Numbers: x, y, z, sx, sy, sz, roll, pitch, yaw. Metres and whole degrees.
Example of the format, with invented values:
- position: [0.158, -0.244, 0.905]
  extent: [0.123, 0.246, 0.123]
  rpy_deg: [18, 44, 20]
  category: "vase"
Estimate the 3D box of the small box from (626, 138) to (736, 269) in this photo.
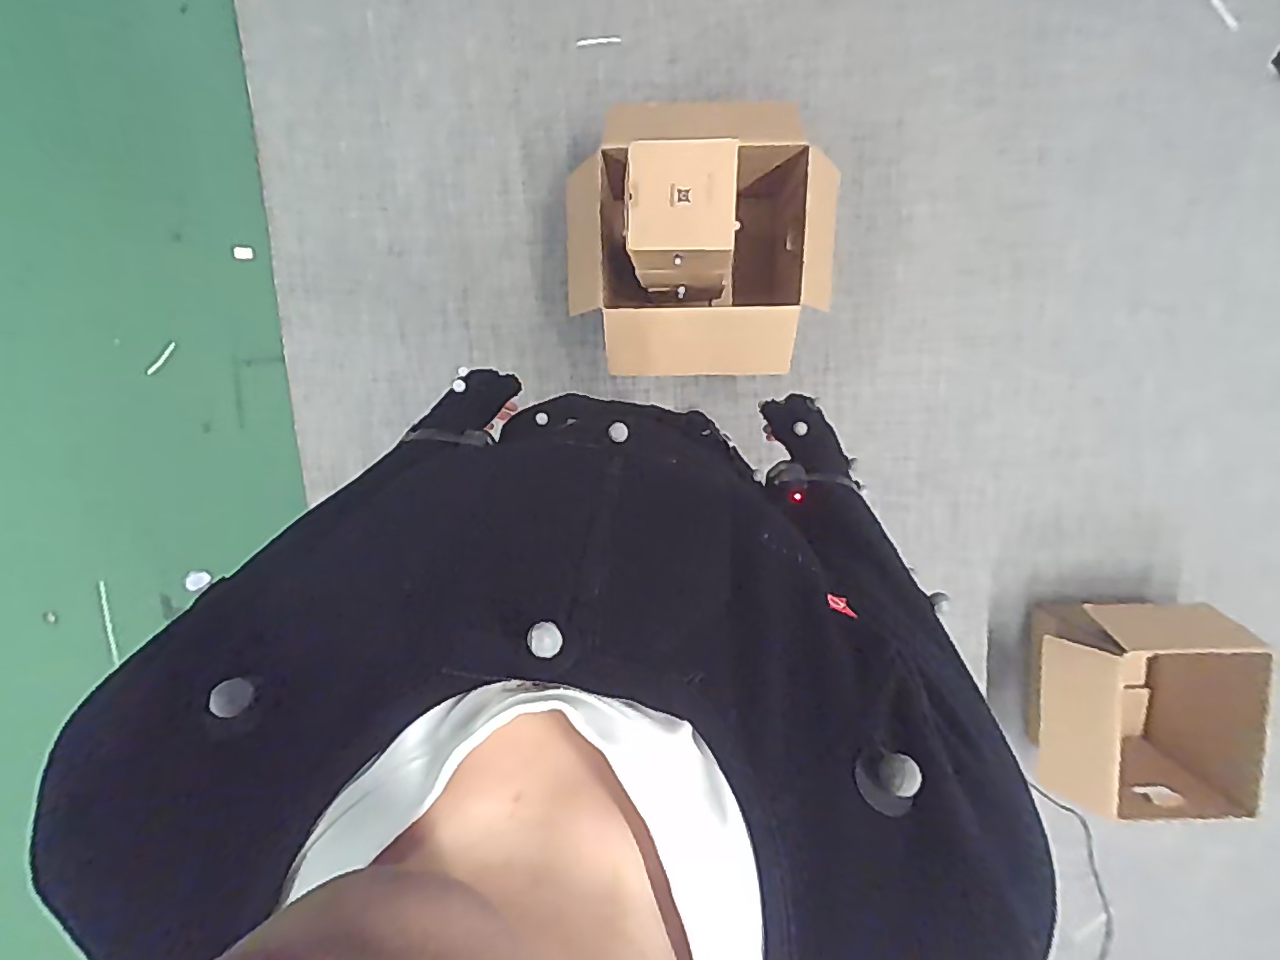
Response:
- position: [0.072, -0.472, 0.947]
  extent: [0.179, 0.176, 0.168]
  rpy_deg: [0, 101, 4]
  category: "small box"
